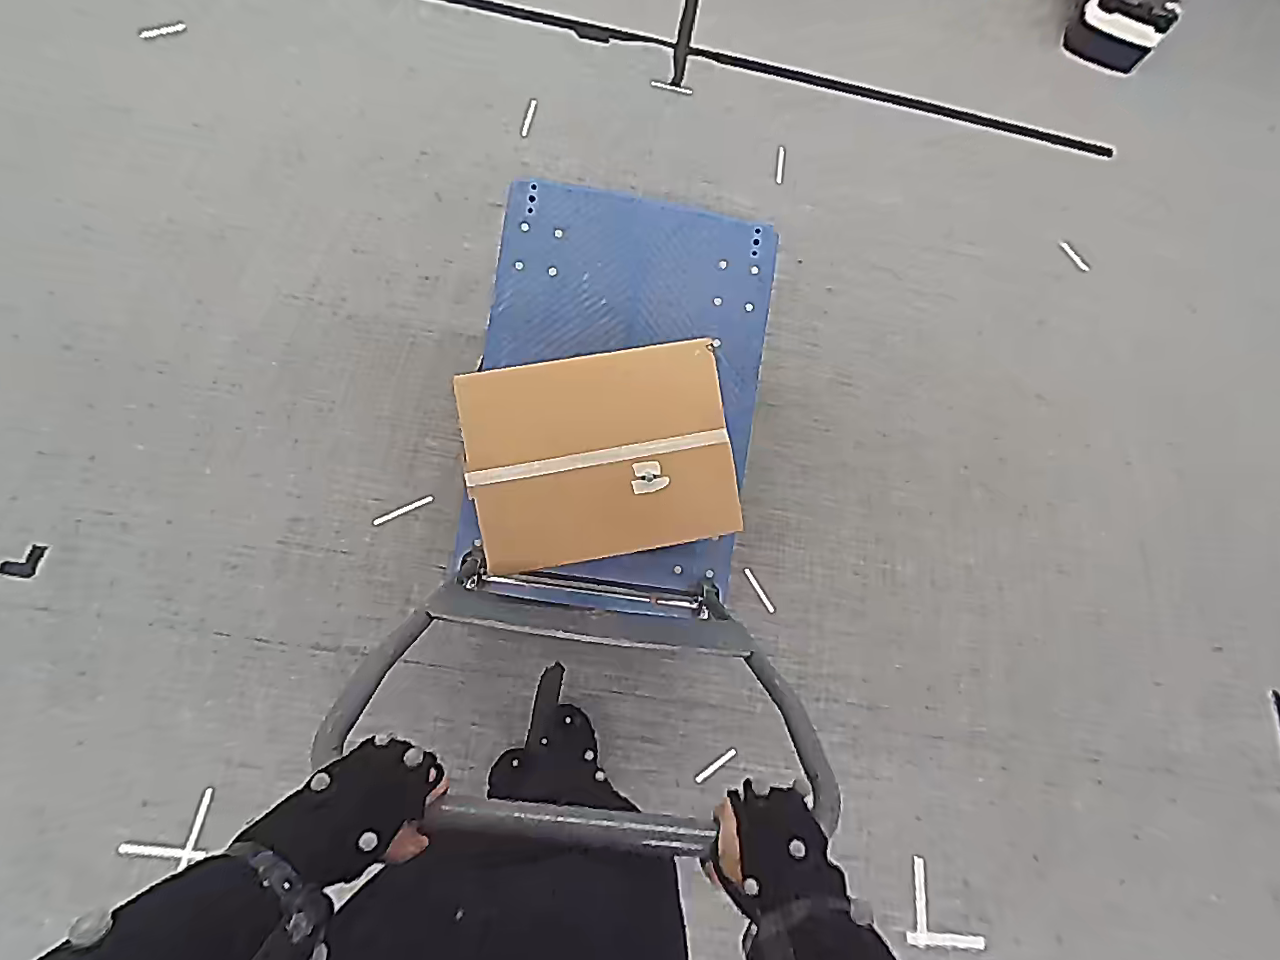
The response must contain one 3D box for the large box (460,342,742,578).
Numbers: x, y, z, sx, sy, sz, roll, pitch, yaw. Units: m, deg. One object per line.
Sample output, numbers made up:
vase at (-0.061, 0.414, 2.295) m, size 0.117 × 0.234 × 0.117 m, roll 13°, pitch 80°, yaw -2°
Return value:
large box at (-0.071, -0.034, 0.989) m, size 0.408 × 0.320 × 0.320 m, roll -10°, pitch 92°, yaw -6°
